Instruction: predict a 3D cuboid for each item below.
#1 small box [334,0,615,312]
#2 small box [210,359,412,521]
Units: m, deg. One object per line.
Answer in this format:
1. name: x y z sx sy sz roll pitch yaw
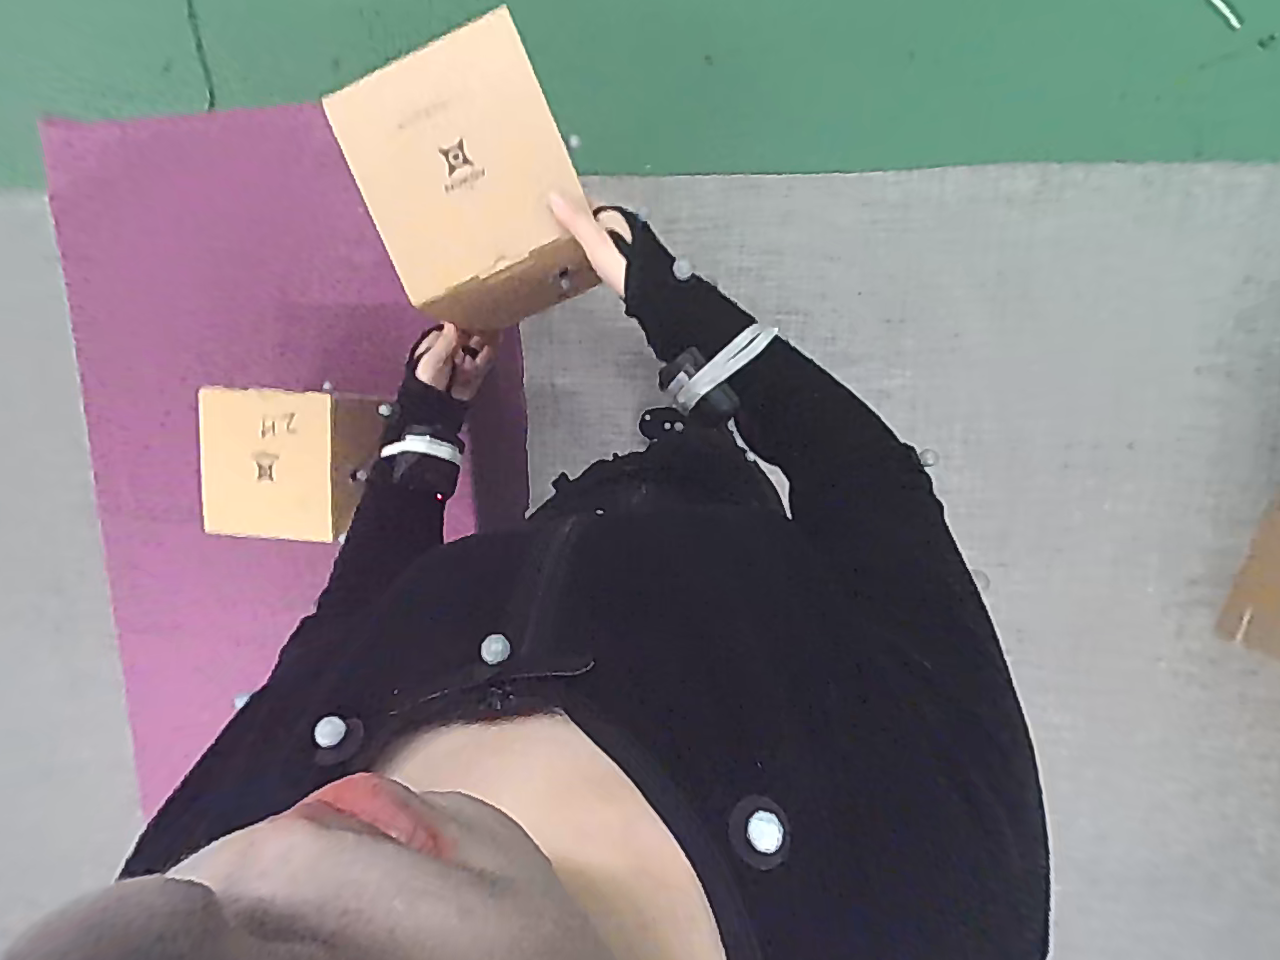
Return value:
1. small box: -0.131 -0.270 0.504 0.168 0.176 0.179 -20 96 5
2. small box: -0.423 -0.056 0.718 0.168 0.176 0.179 7 97 4
